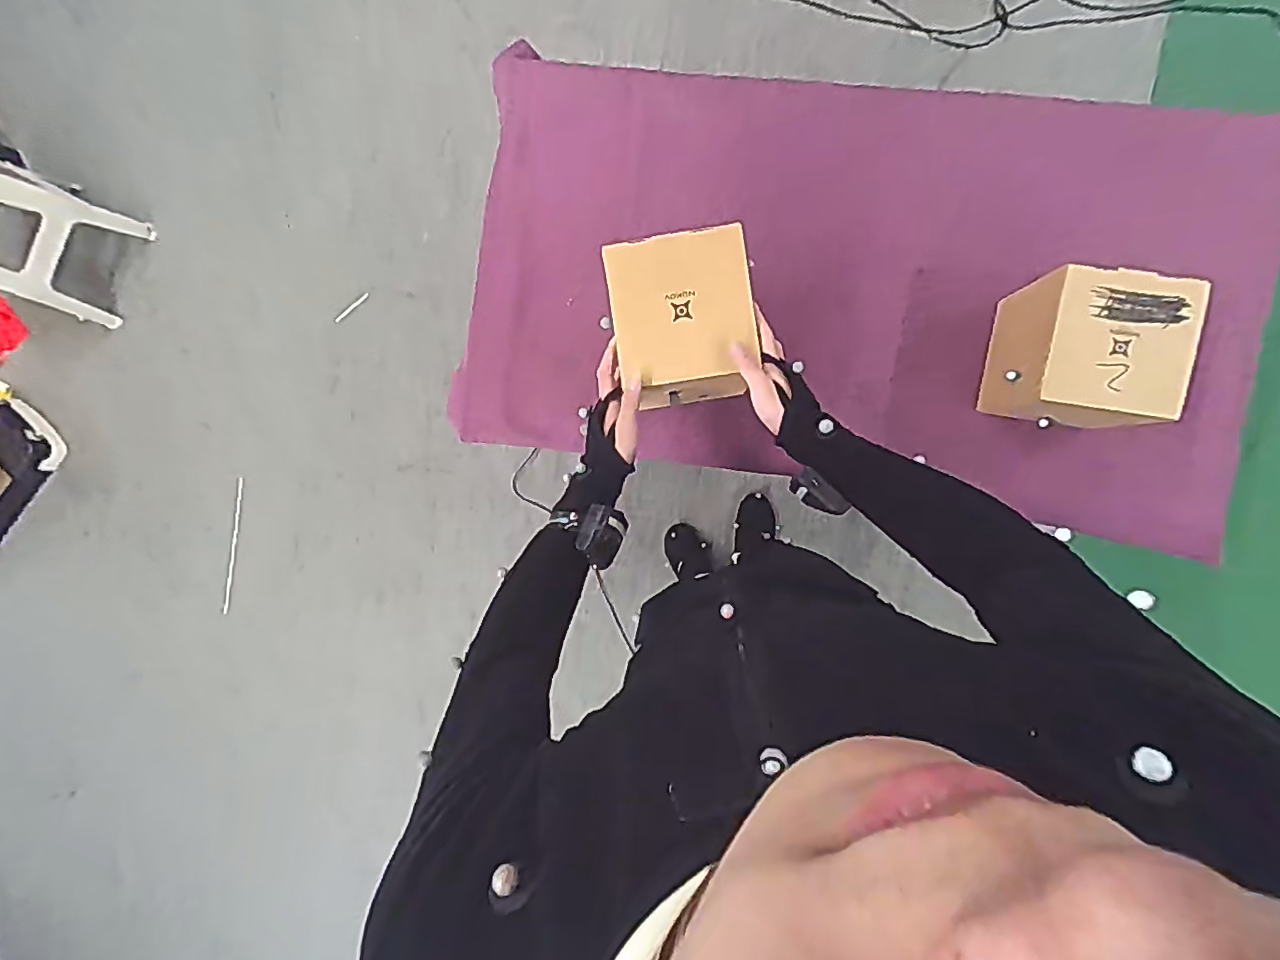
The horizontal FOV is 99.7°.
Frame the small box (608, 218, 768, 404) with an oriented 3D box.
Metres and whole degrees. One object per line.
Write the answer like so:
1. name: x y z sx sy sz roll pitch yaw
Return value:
1. small box: 0.060 -0.200 0.696 0.168 0.176 0.179 -9 88 4
